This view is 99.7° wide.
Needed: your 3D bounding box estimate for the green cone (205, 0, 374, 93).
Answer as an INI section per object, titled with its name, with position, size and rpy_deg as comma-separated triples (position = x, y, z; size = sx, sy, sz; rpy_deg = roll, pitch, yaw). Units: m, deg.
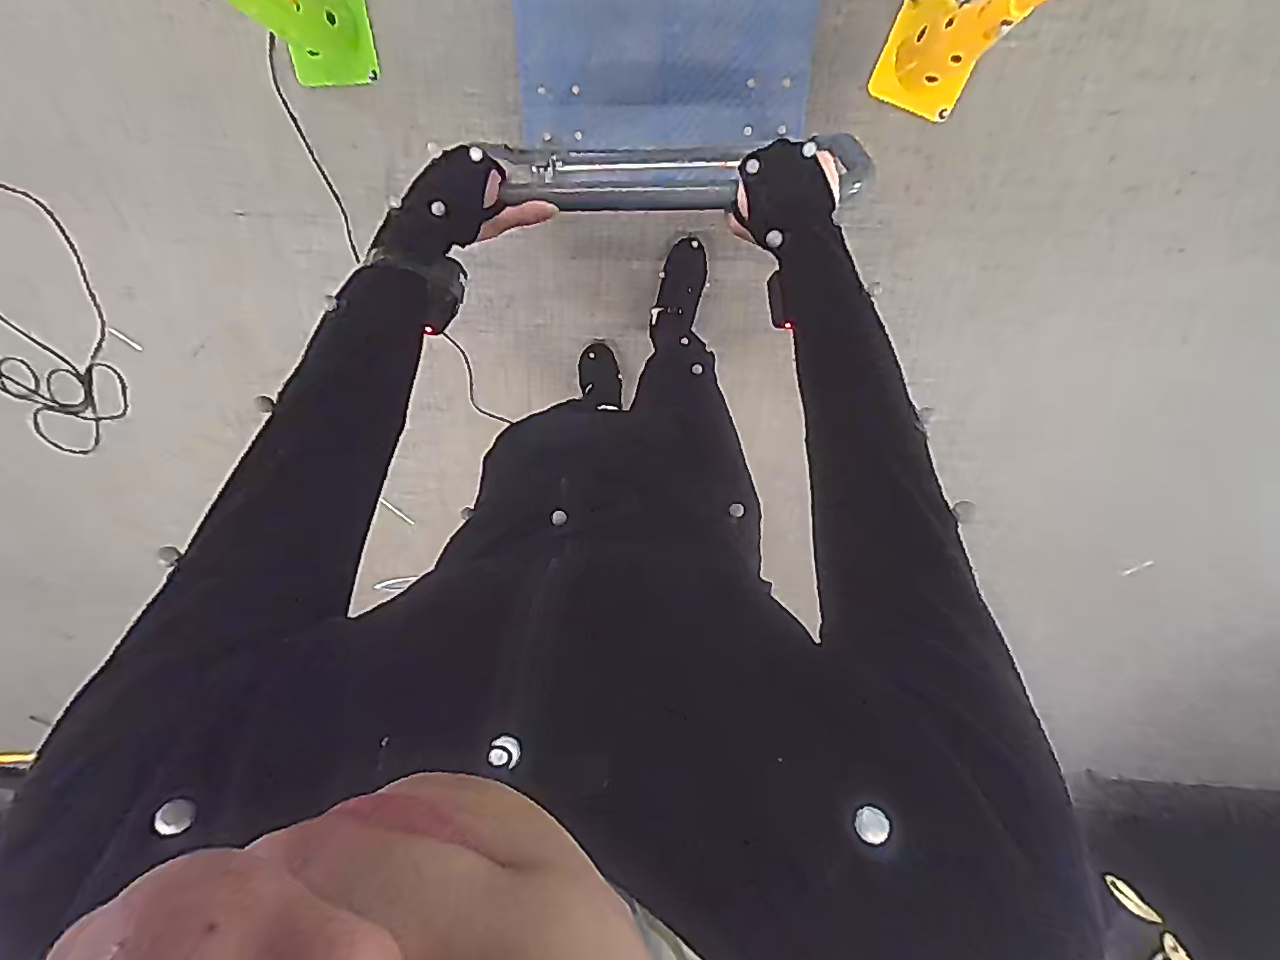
[green cone]
position = -0.719, -0.910, 1.047
size = 0.202, 0.368, 0.200
rpy_deg = 0, 116, 6
